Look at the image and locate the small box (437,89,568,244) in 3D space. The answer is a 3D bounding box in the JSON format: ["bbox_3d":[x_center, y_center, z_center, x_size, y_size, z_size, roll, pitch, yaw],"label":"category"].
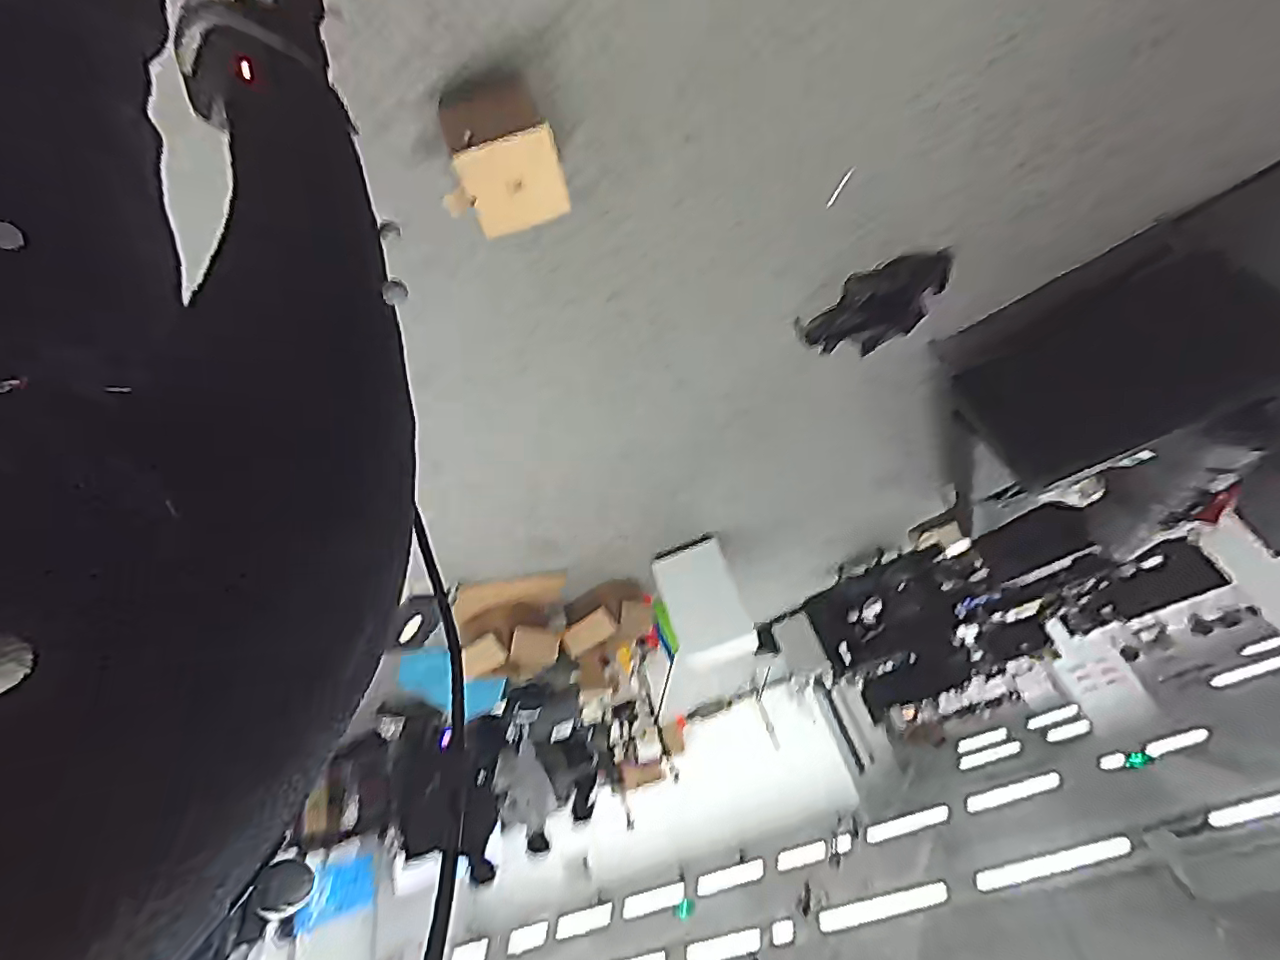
[{"bbox_3d":[-0.254,-0.585,1.007,0.179,0.176,0.168,-20,152,-2],"label":"small box"}]
